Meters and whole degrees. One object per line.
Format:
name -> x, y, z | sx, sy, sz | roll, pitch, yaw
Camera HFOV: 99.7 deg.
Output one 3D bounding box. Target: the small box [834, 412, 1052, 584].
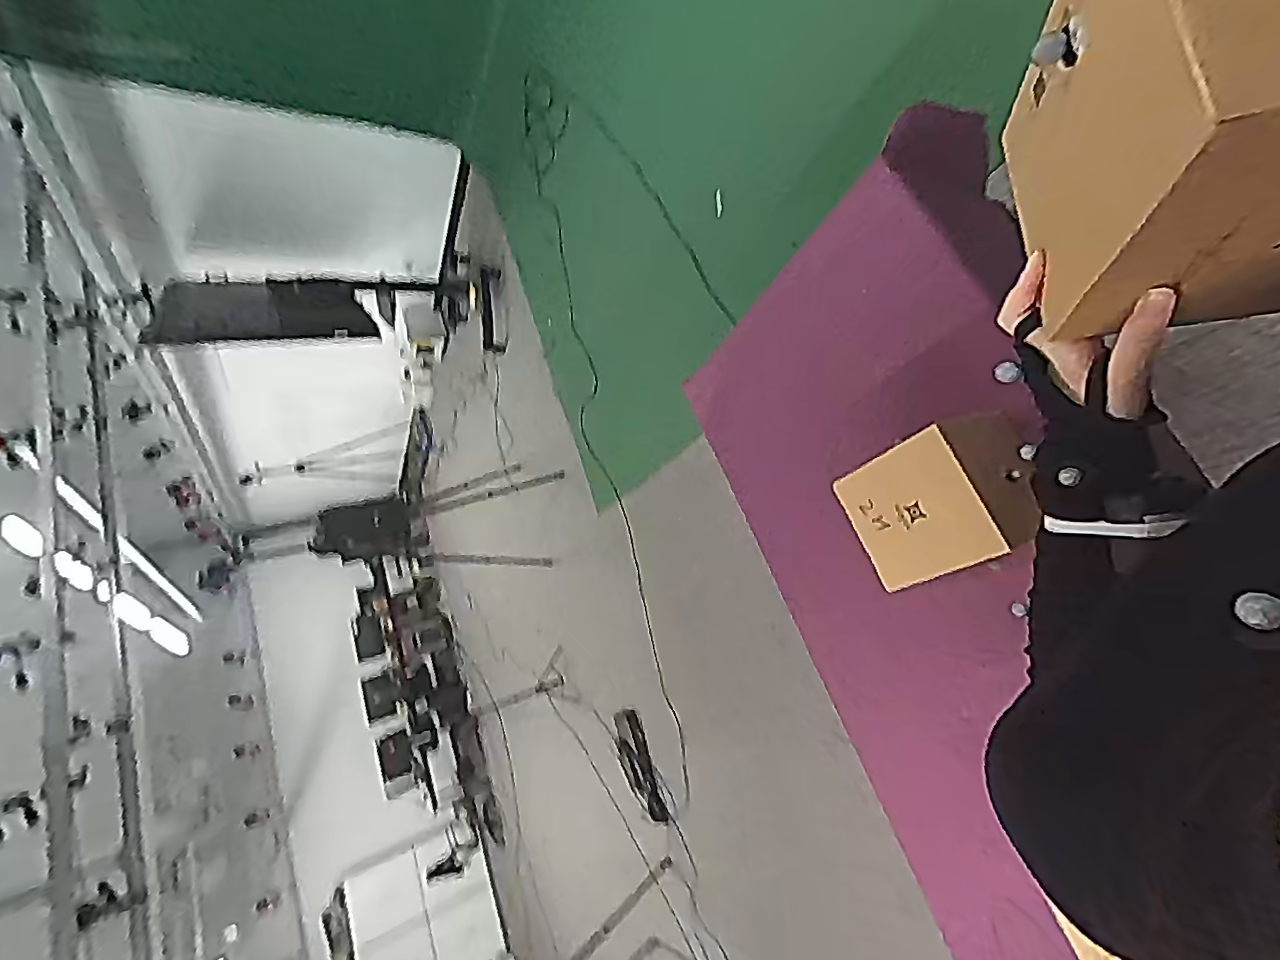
small box -> 0.409, 0.022, 0.730 | 0.179, 0.176, 0.168 | -45, 60, 53
